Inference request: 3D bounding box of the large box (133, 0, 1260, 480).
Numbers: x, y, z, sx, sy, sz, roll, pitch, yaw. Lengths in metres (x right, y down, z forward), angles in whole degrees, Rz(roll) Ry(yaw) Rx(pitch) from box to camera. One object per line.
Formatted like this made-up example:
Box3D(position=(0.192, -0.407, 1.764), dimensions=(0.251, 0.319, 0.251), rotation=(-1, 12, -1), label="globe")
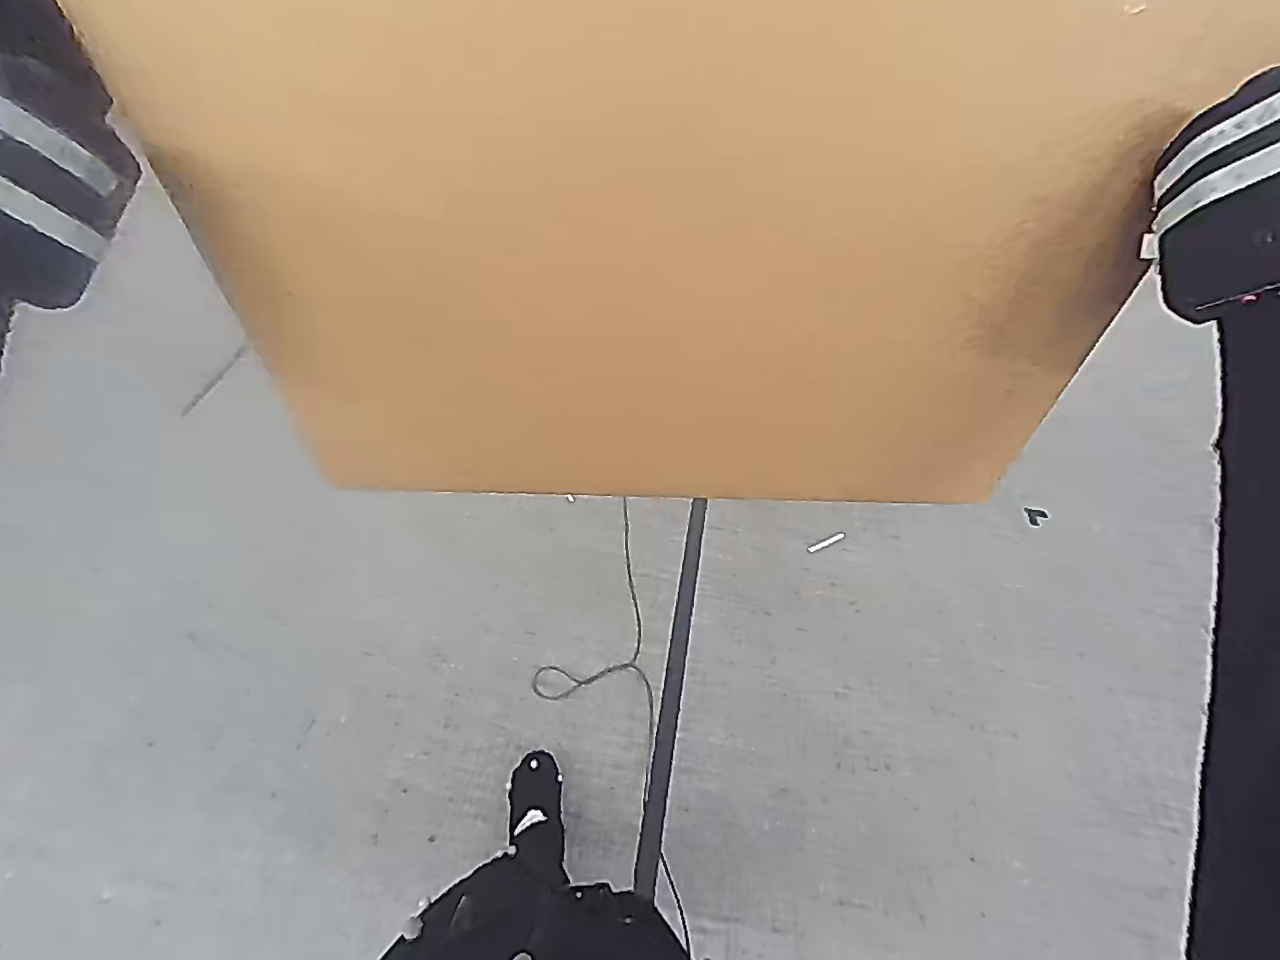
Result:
Box3D(position=(0.016, -0.212, 0.347), dimensions=(0.408, 0.320, 0.320), rotation=(2, 45, -1), label="large box")
